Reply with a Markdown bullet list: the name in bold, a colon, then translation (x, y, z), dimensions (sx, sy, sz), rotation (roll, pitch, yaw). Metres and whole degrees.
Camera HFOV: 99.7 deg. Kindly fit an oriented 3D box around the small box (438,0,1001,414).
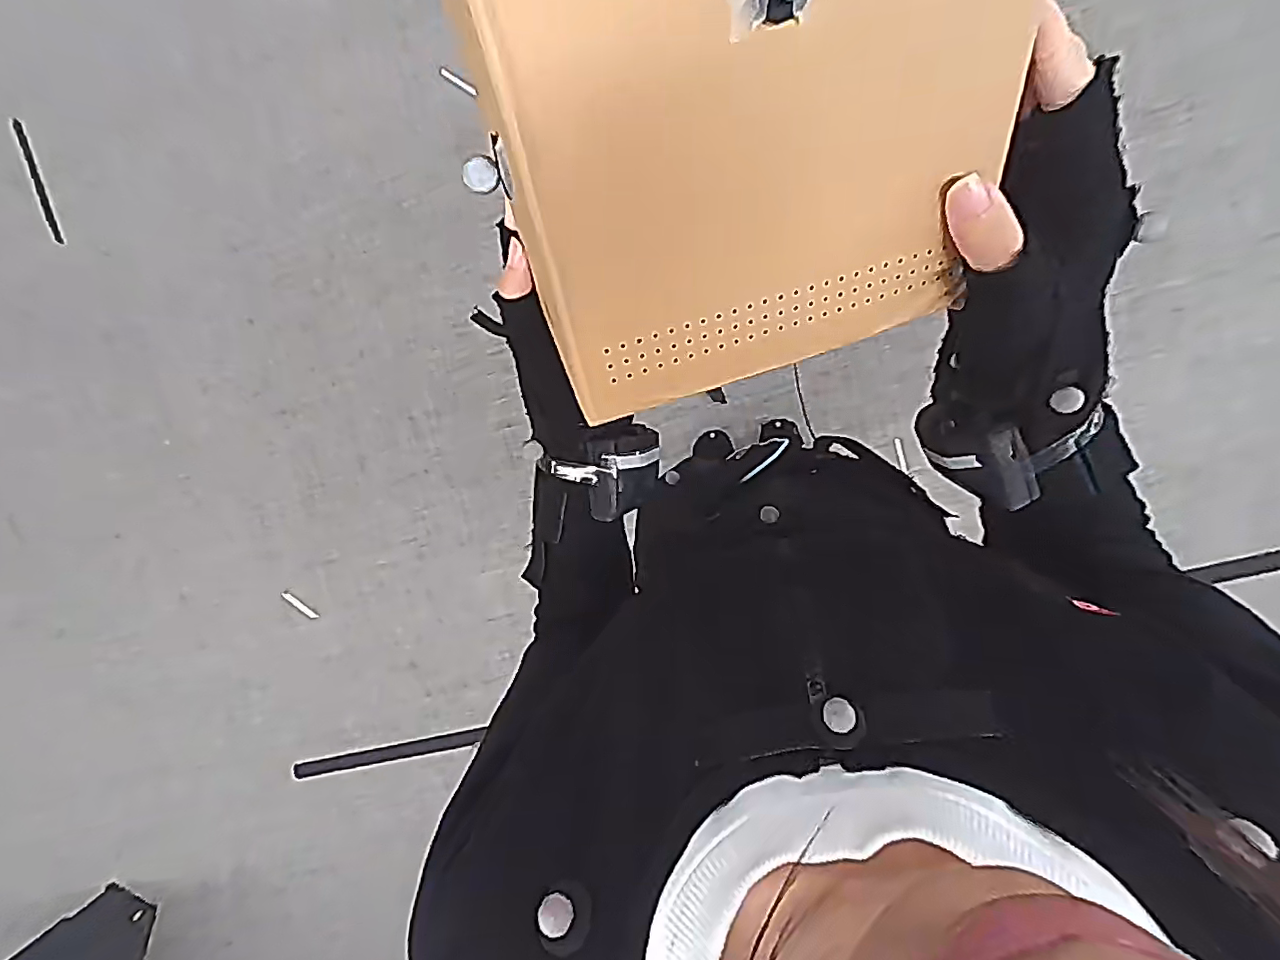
- **small box**: translation (0.027, -0.155, 0.238), dimensions (0.179, 0.168, 0.176), rotation (-21, 133, -4)
